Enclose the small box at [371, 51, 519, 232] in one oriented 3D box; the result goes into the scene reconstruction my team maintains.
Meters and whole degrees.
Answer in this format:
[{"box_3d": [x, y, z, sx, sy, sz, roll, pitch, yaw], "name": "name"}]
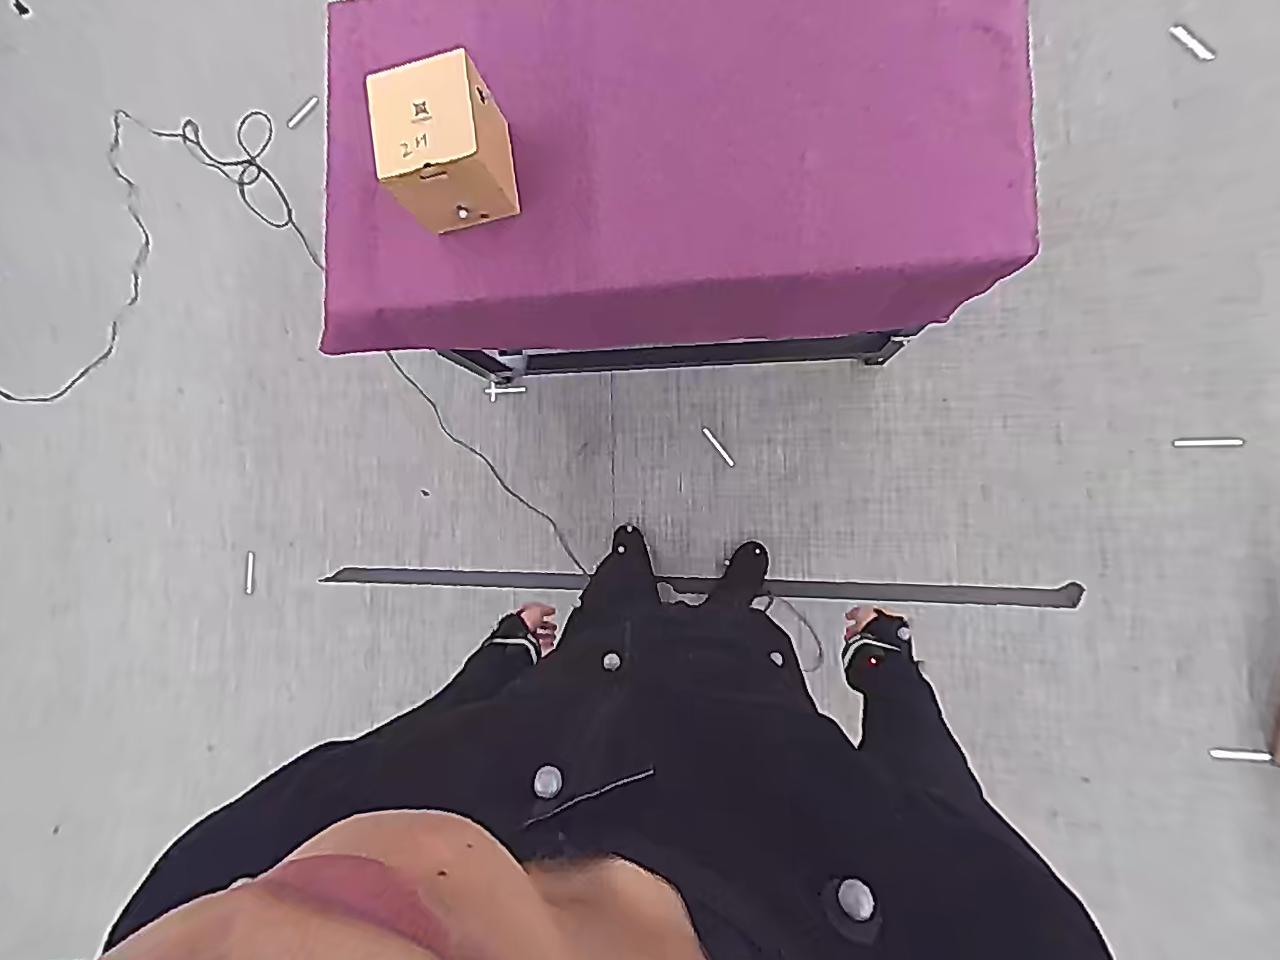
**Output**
[{"box_3d": [-0.317, -0.550, 0.903, 0.168, 0.176, 0.179, -9, 86, 9], "name": "small box"}]
